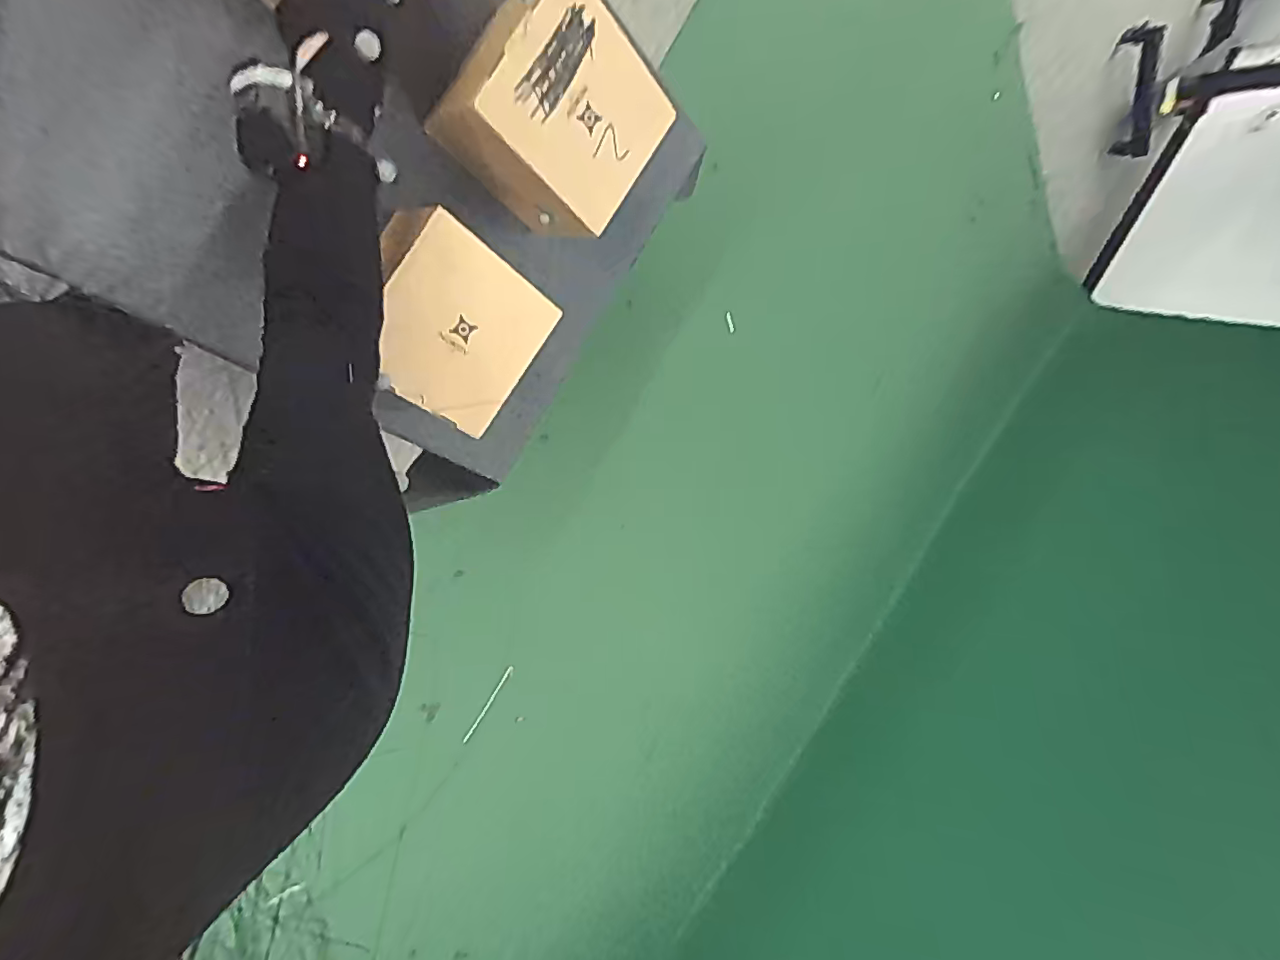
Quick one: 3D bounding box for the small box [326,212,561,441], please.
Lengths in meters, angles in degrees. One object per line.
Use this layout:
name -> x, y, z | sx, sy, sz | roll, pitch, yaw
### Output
small box -> -0.229, -0.175, 0.617 | 0.168, 0.176, 0.179 | 34, 88, -42
